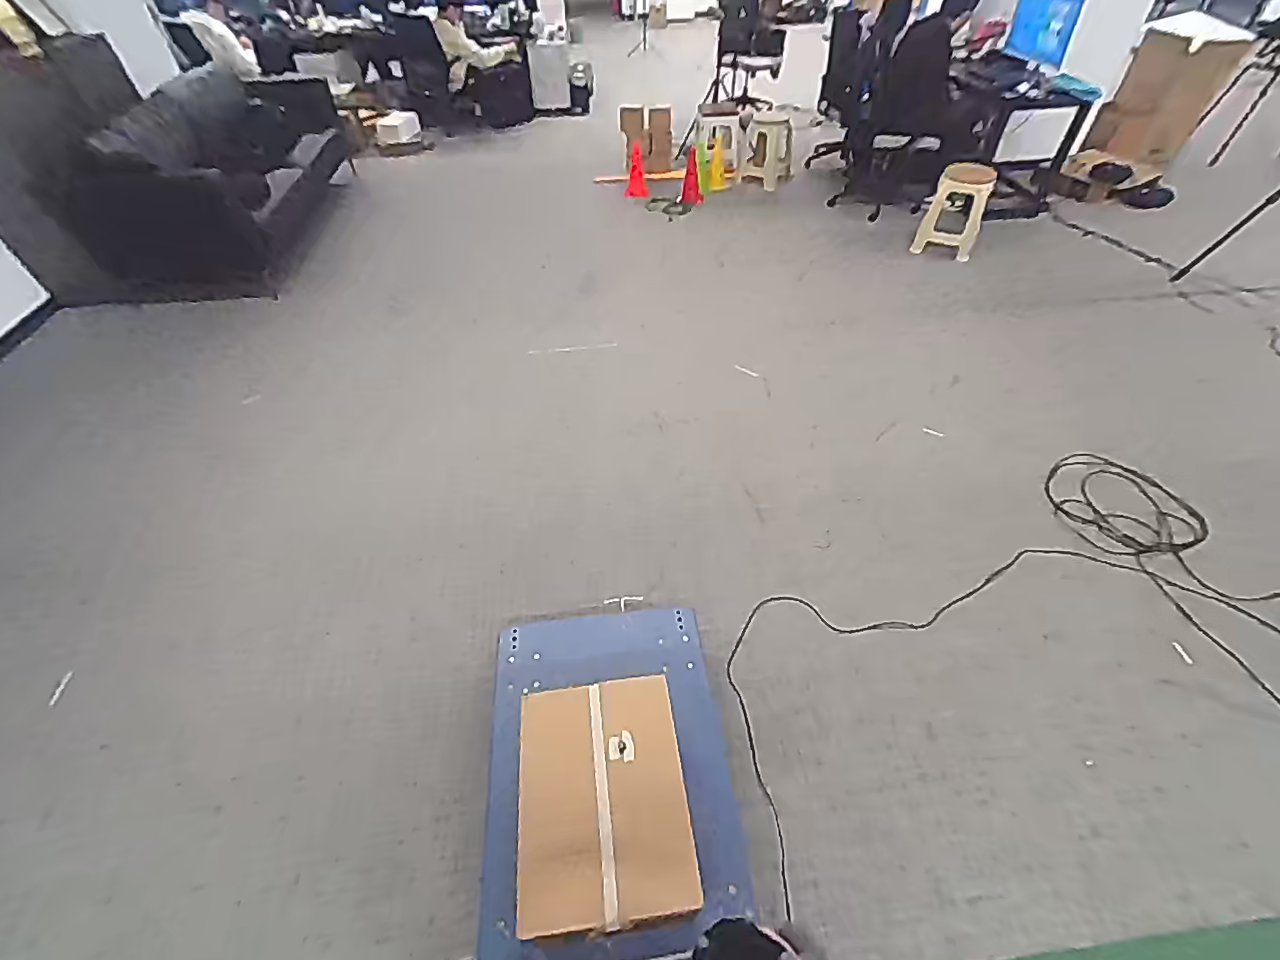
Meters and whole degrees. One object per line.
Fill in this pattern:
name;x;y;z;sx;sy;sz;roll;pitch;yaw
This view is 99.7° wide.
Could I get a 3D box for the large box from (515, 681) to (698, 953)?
large box;-0.072;0.698;1.136;0.320;0.320;0.408;-6;46;-4
